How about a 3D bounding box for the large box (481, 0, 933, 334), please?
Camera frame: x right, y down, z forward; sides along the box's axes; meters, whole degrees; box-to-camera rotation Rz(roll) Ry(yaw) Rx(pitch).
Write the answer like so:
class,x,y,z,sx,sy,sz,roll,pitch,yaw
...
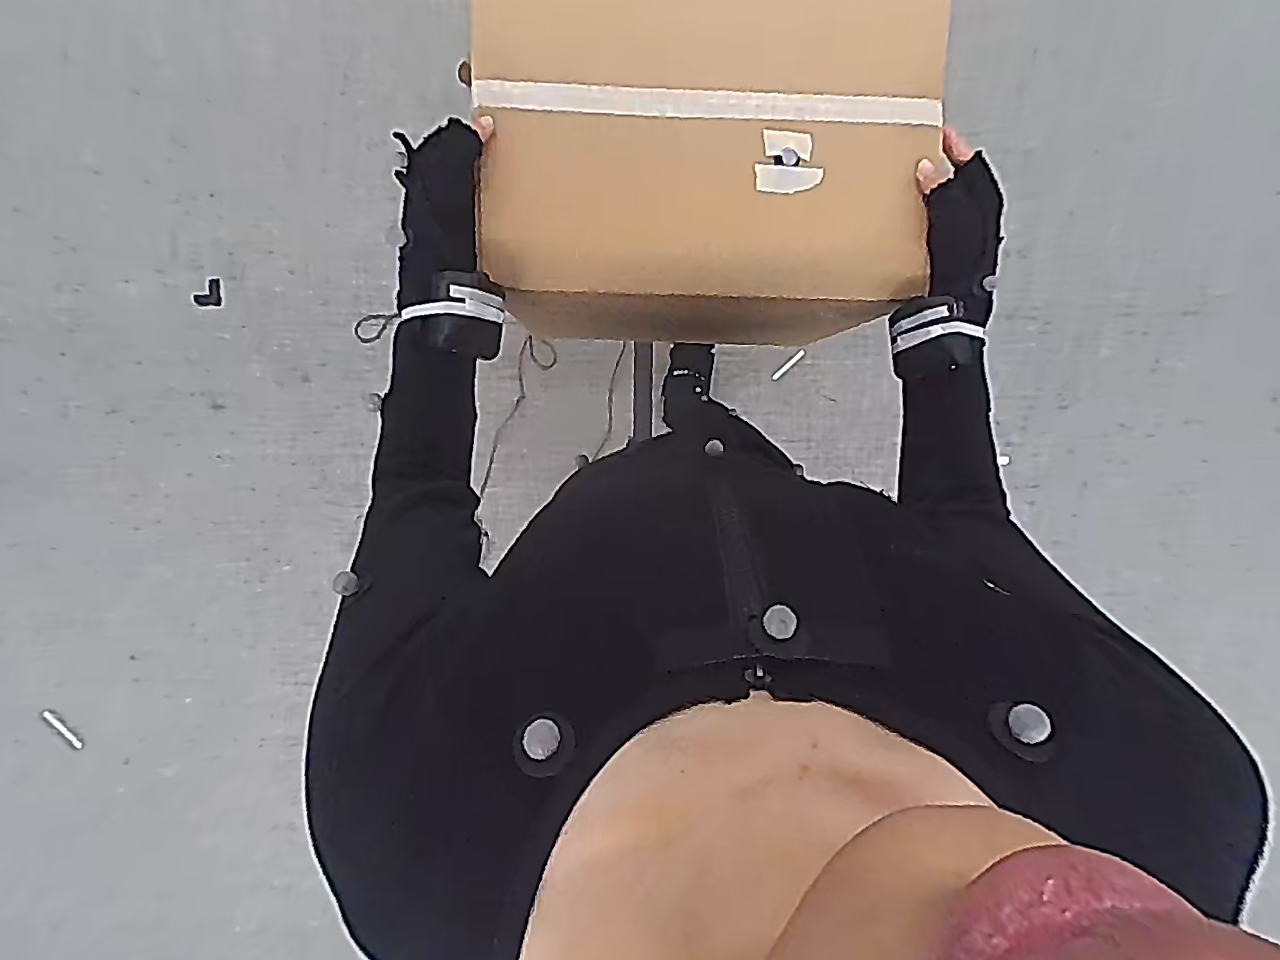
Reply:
class,x,y,z,sx,sy,sz,roll,pitch,yaw
large box,0.052,-0.350,0.629,0.408,0.320,0.320,0,97,-3
